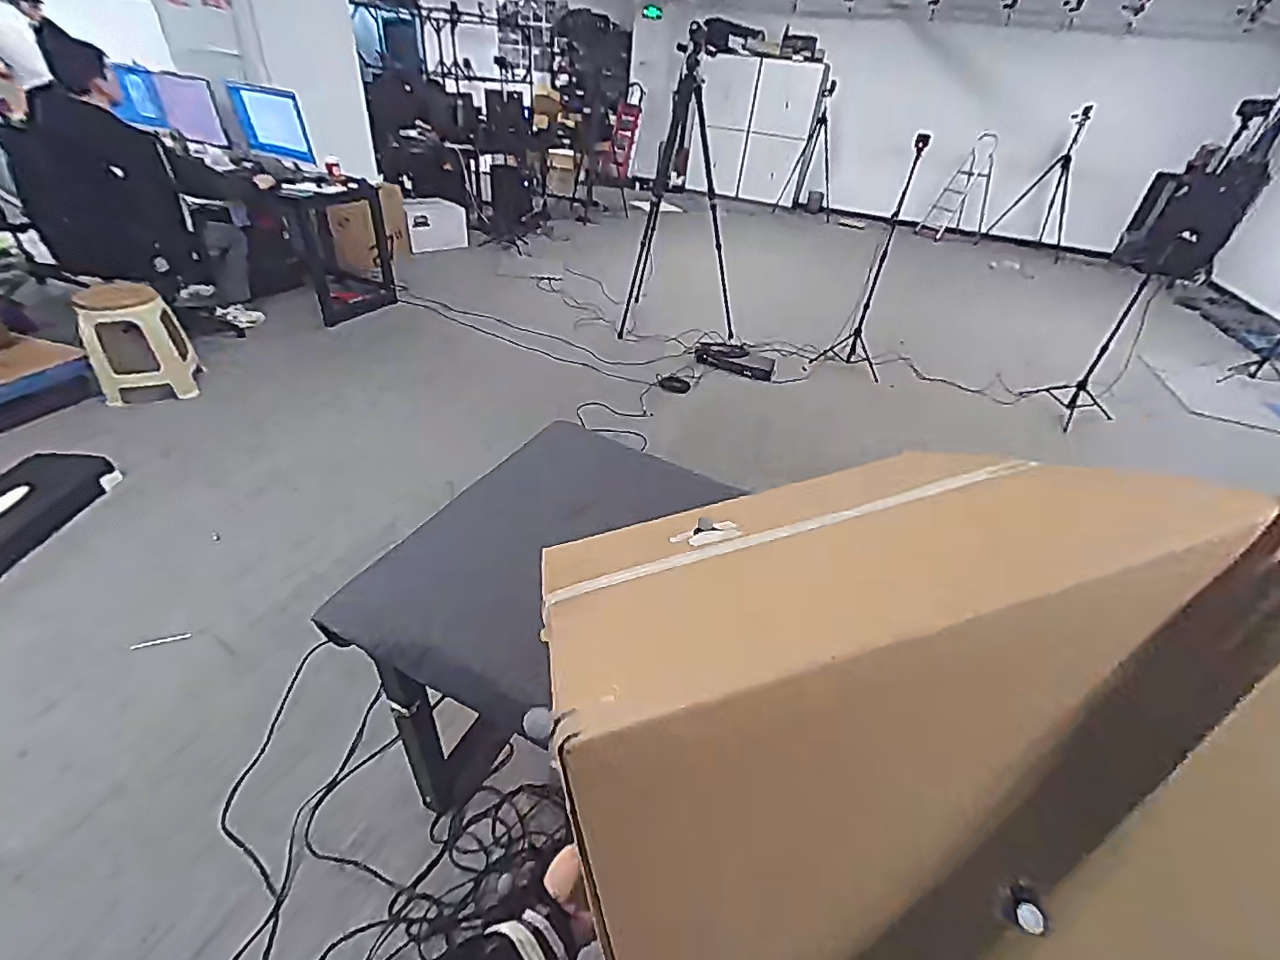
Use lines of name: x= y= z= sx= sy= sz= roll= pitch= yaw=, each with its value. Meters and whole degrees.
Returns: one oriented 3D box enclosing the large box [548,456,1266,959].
large box: x=0.168 y=0.193 z=0.438 sx=0.408 sy=0.320 sz=0.320 roll=-16 pitch=10 yaw=-10
